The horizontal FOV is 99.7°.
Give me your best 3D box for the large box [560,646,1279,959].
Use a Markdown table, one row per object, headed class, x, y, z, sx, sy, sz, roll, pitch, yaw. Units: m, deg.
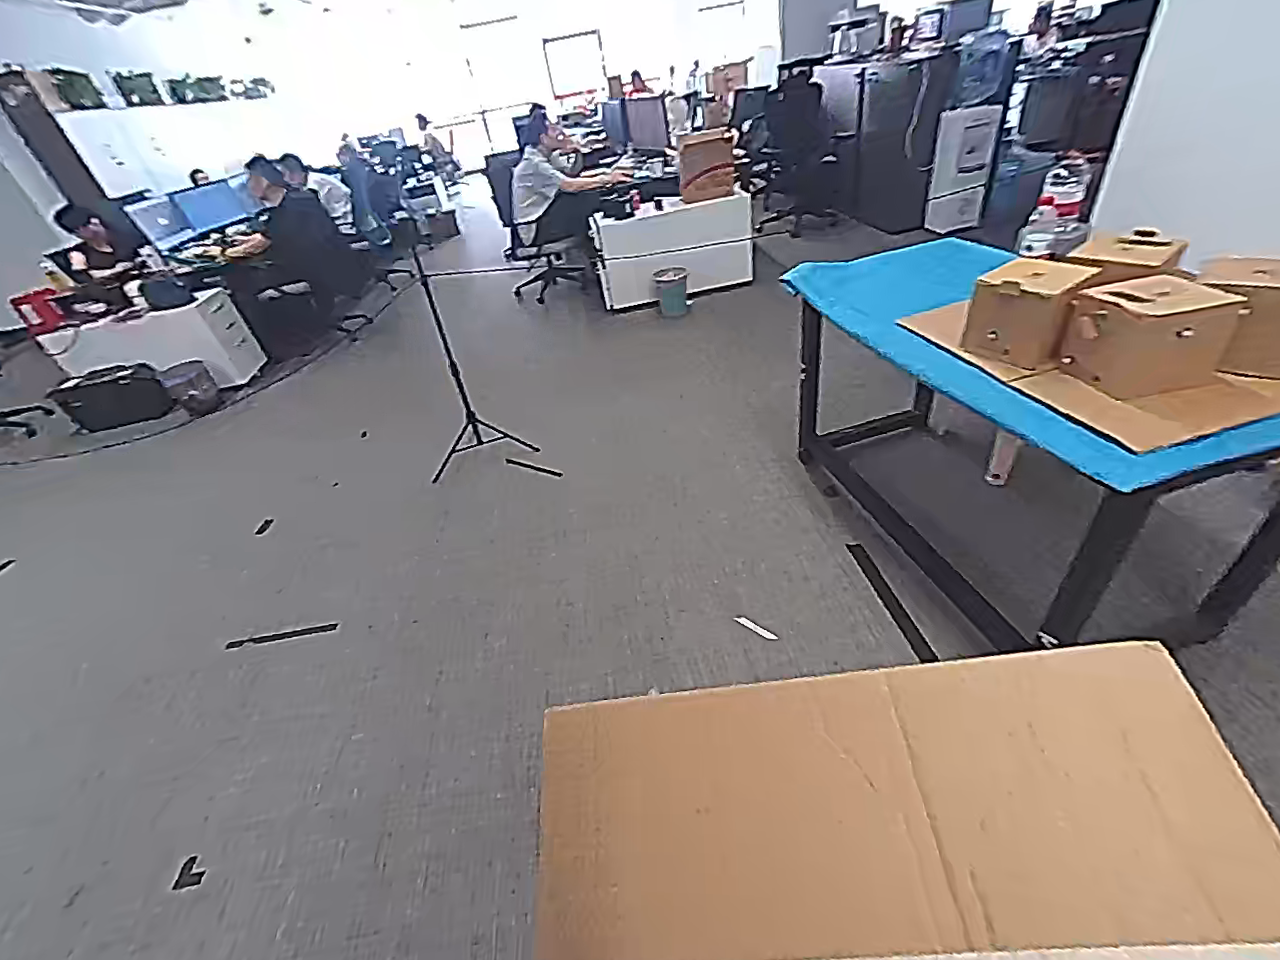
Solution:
| class | x | y | z | sx | sy | sz | roll | pitch | yaw |
| --- | --- | --- | --- | --- | --- | --- | --- | --- | --- |
| large box | 0.175 | 0.348 | 0.419 | 0.408 | 0.320 | 0.320 | -10 | 58 | 9 |
